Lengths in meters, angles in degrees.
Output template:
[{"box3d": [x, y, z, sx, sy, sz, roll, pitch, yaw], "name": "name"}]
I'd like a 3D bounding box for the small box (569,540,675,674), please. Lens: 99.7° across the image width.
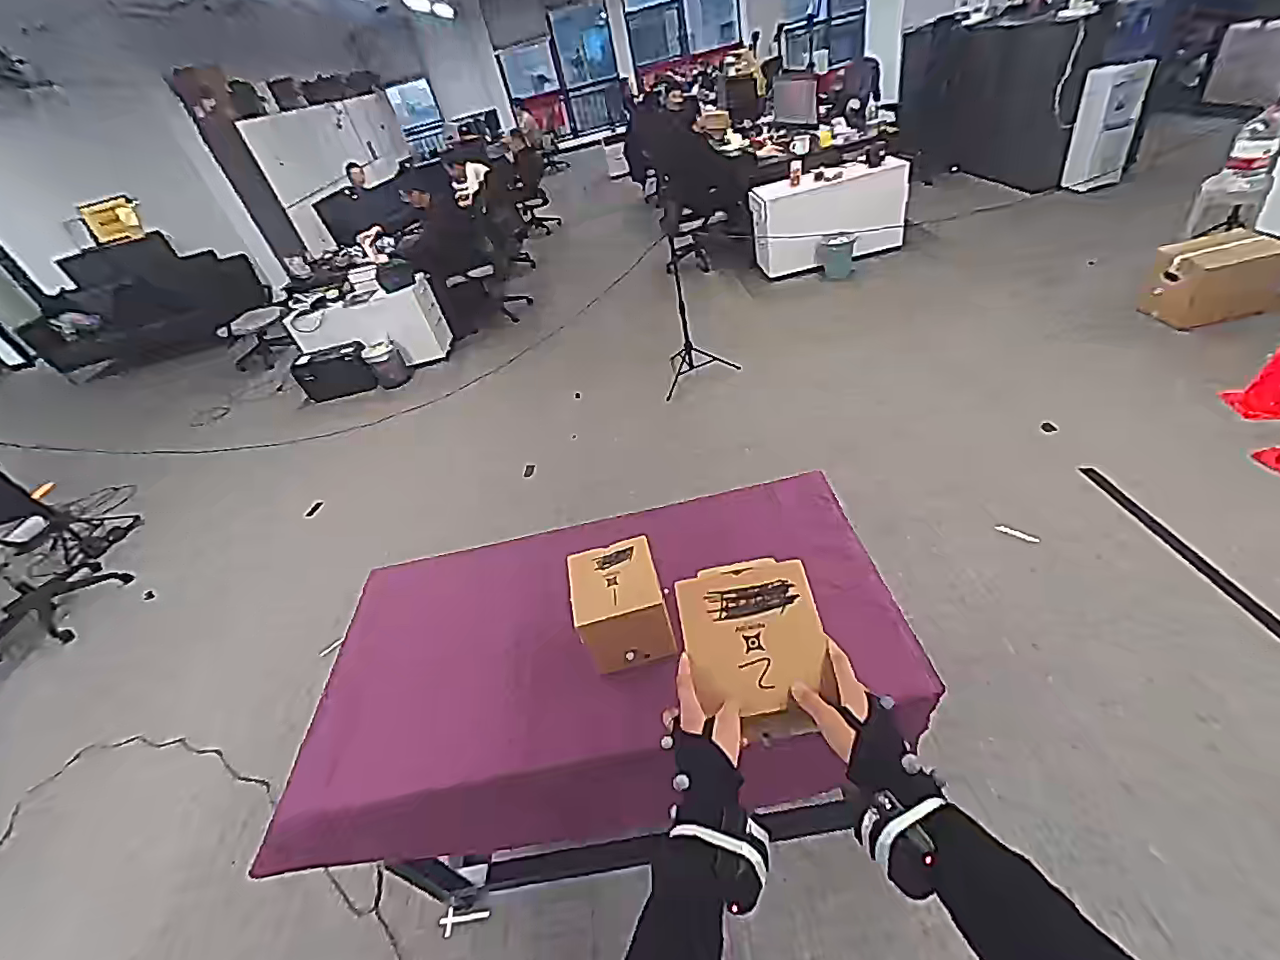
[{"box3d": [-0.037, 0.253, 1.082, 0.168, 0.176, 0.179, -16, 39, 0], "name": "small box"}]
